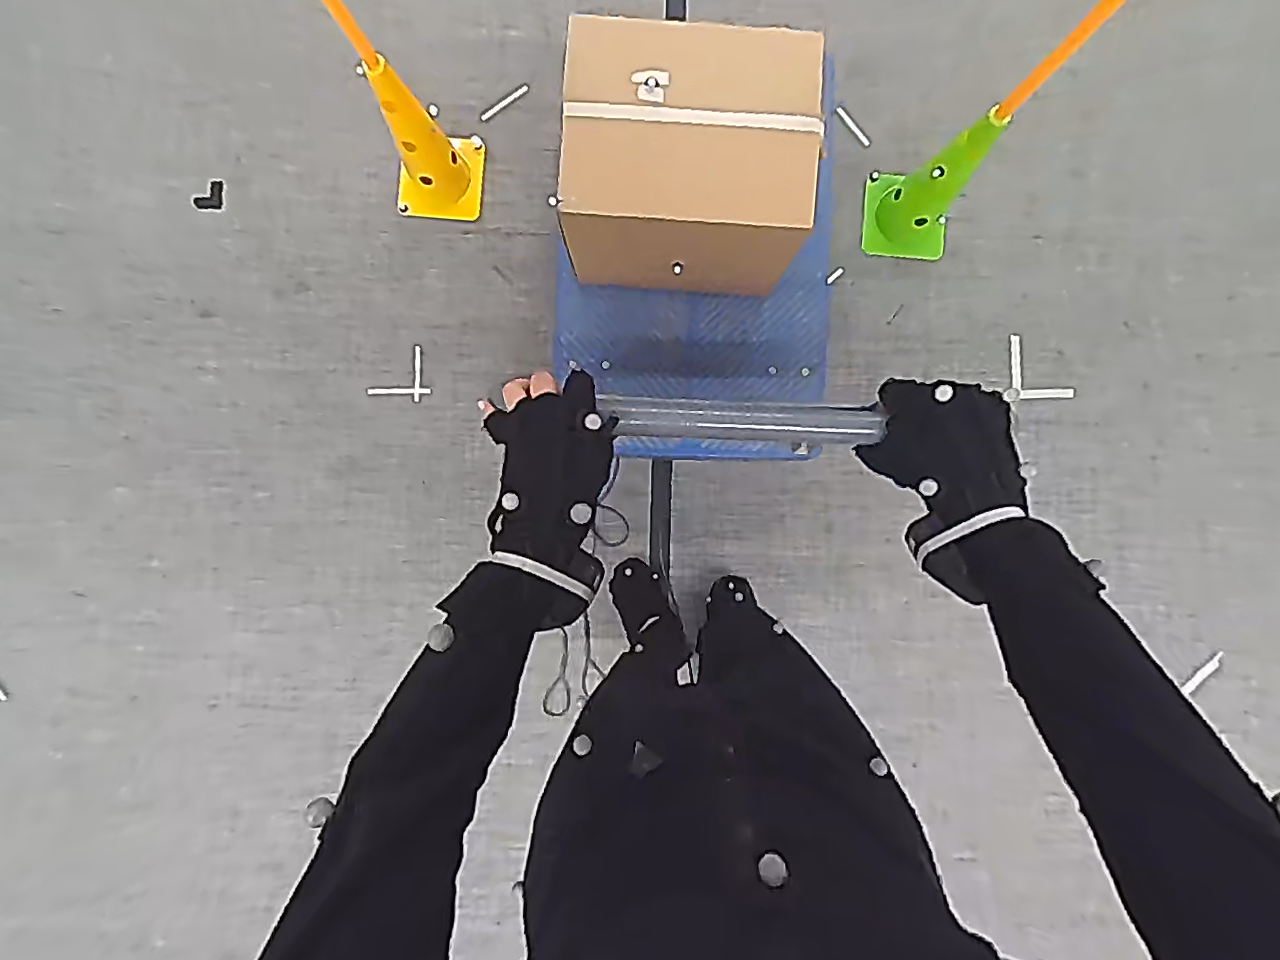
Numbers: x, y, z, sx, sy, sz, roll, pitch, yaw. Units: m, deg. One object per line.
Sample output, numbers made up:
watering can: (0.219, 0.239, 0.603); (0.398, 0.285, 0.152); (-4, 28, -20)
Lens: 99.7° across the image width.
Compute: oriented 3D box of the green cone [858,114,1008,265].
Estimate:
green cone: (0.643, -0.640, 1.162); (0.202, 0.368, 0.200); (5, 89, -1)

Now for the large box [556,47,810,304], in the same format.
large box: (0.073, -0.536, 1.016); (0.408, 0.320, 0.320); (4, 89, 1)
